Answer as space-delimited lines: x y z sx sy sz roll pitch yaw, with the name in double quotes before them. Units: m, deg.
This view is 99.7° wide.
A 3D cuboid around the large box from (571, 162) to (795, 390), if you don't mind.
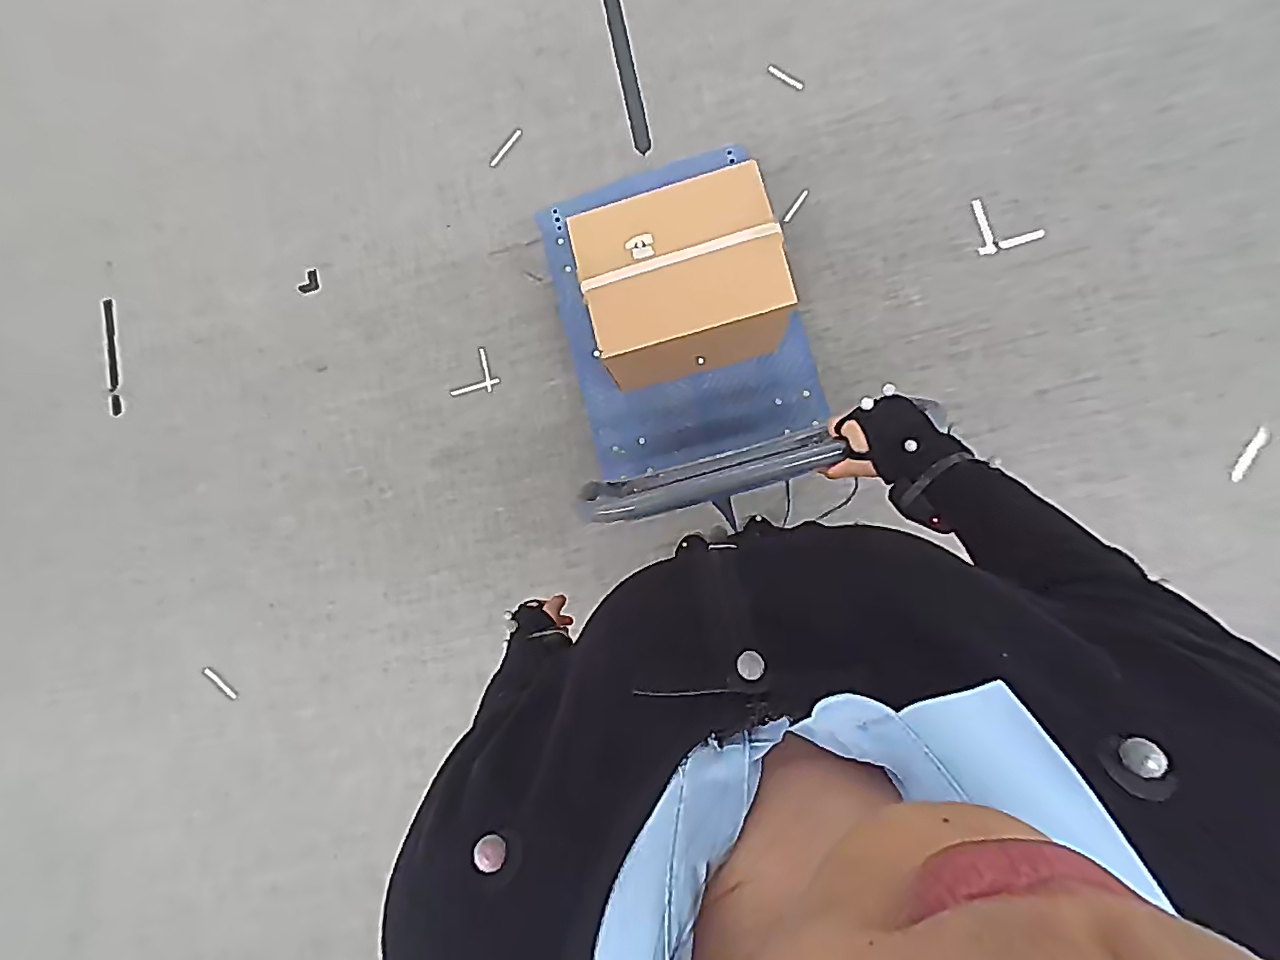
"large box" 0.101 -0.437 1.247 0.408 0.320 0.320 -15 83 7
